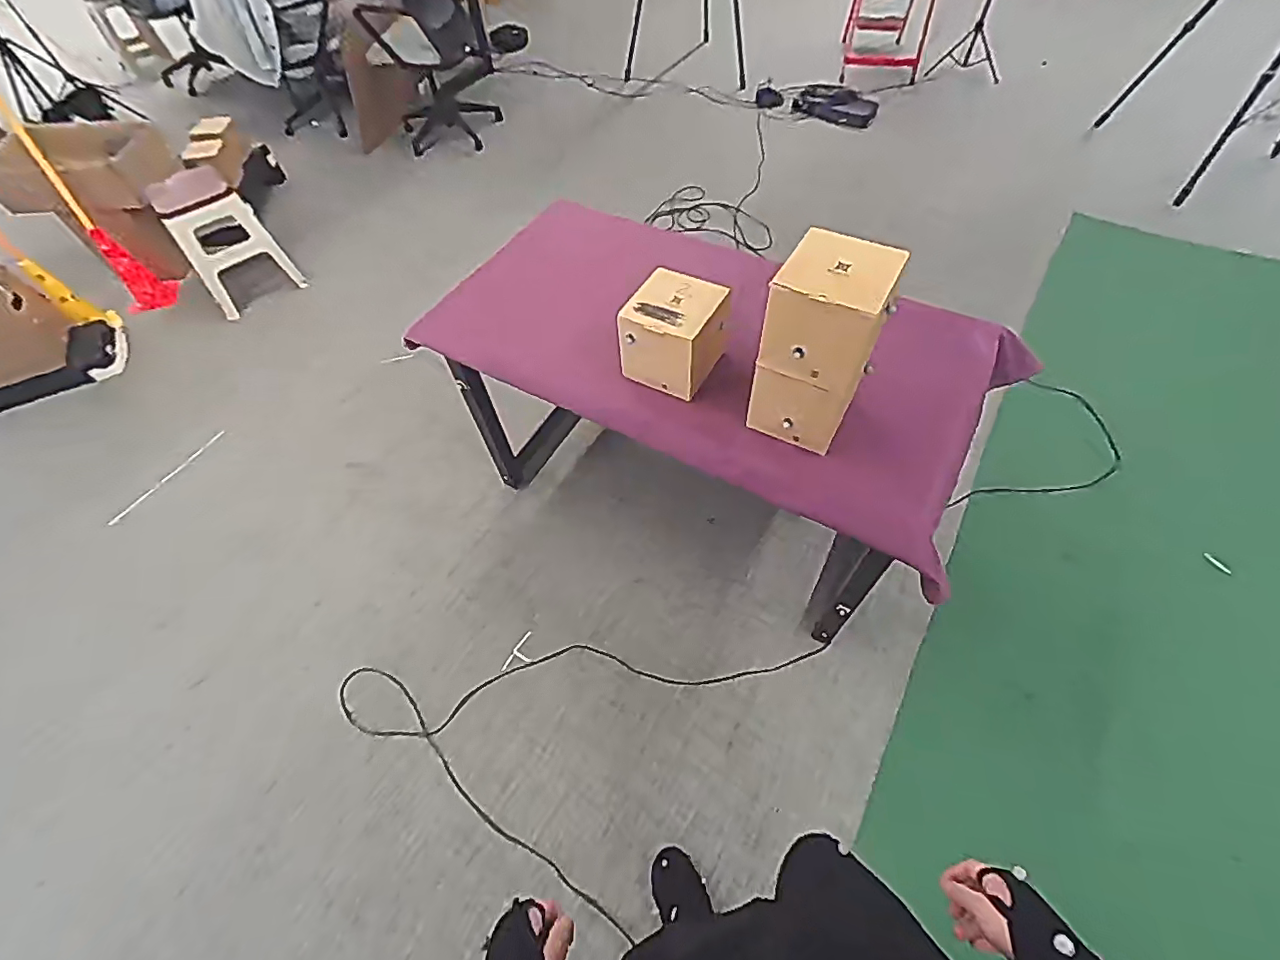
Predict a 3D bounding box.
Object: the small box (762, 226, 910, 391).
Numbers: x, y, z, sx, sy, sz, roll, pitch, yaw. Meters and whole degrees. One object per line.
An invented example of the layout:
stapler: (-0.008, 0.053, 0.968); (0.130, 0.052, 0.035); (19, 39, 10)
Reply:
small box: (0.317, -0.283, 0.903); (0.168, 0.176, 0.179); (25, 61, 18)

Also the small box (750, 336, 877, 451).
small box: (0.323, -0.190, 1.036); (0.168, 0.176, 0.179); (25, 61, 19)
